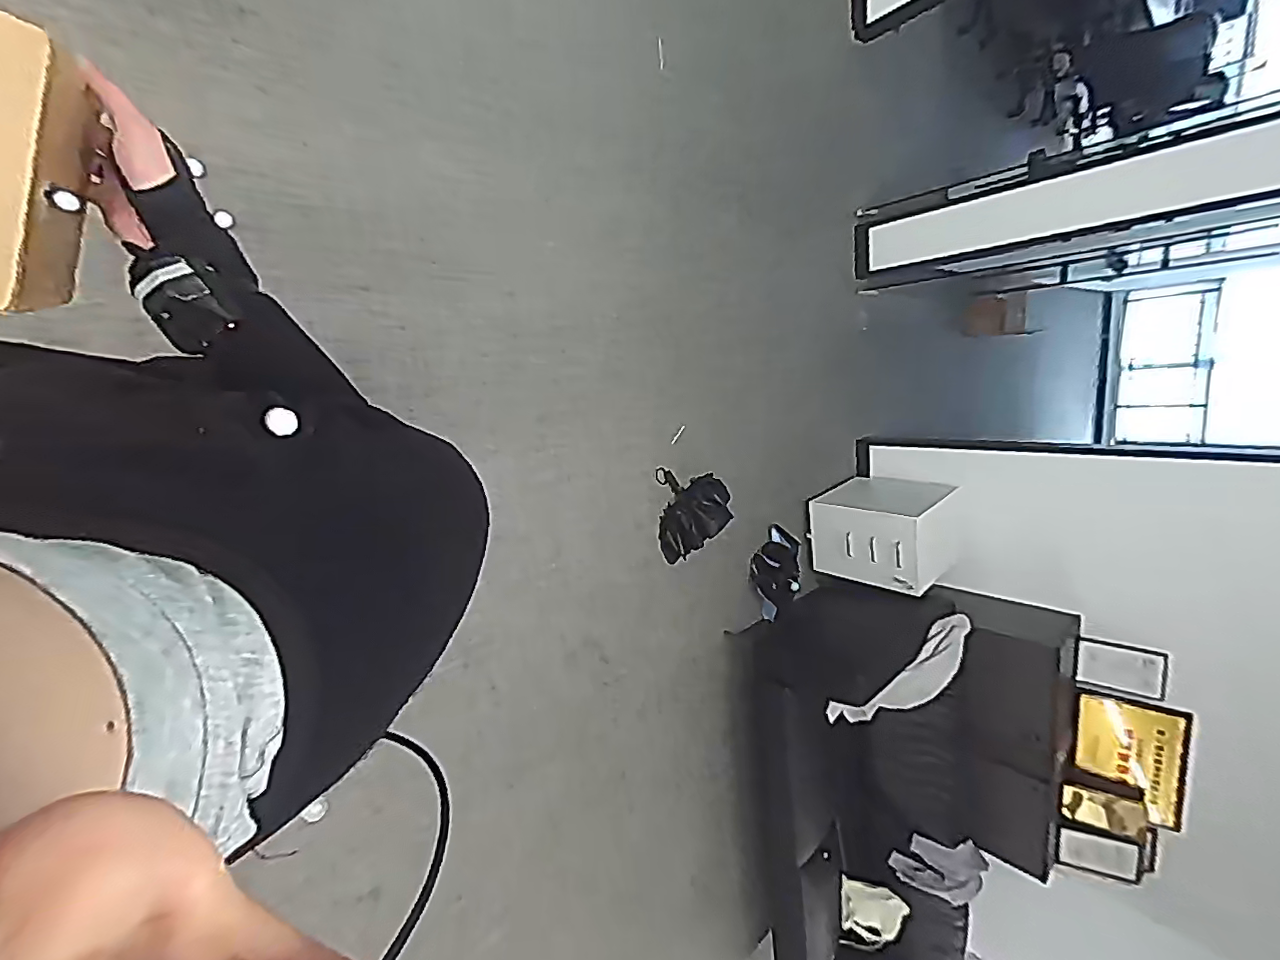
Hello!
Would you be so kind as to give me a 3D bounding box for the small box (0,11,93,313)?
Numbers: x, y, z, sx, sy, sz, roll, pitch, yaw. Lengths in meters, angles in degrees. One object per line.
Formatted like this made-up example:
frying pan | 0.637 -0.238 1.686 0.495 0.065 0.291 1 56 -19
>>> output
small box | -0.491 -0.224 0.351 0.168 0.176 0.179 9 101 -40
